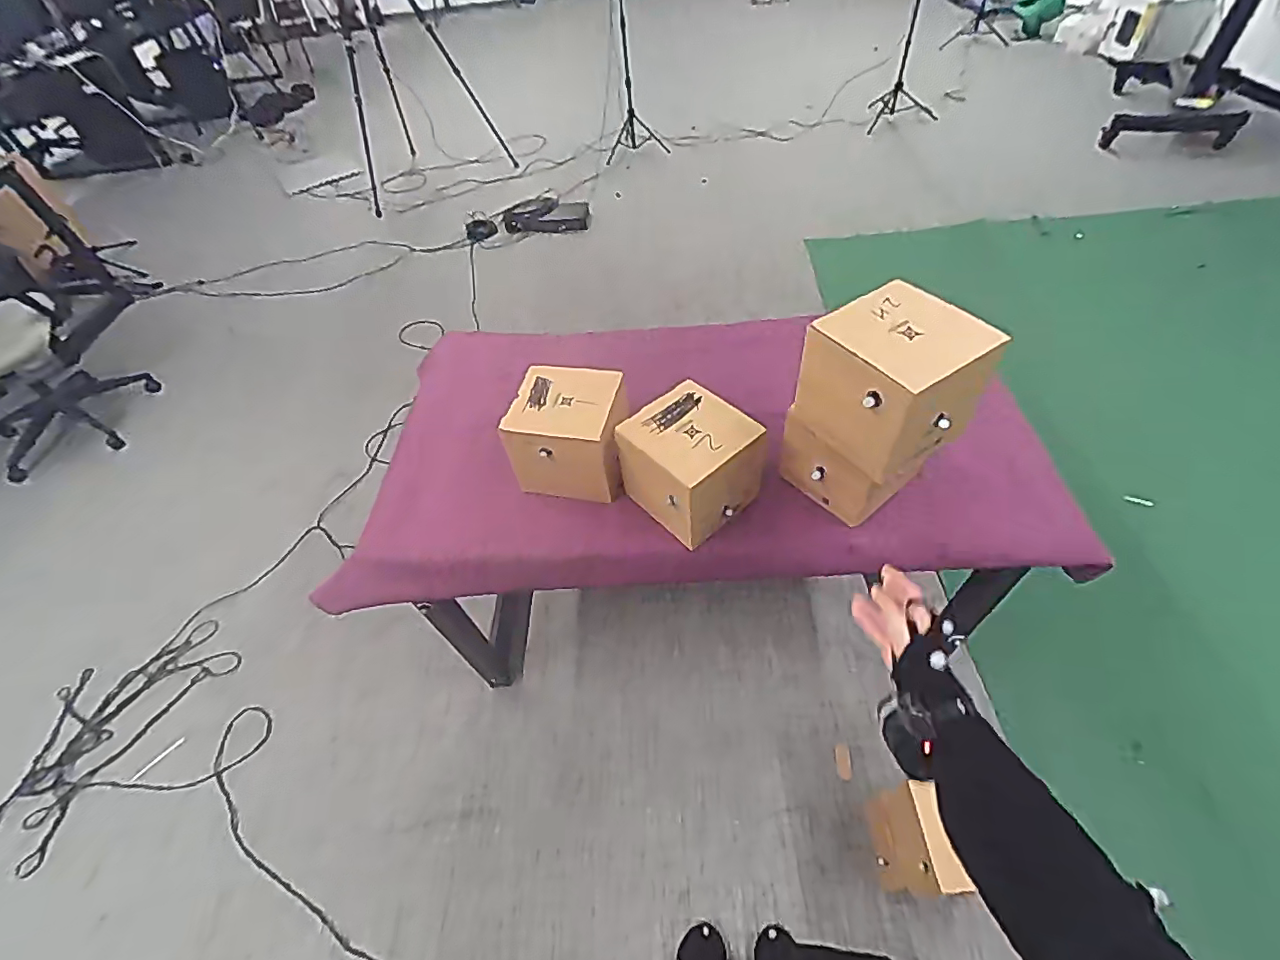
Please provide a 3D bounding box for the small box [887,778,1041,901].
[{"bbox_3d":[0.585,0.673,1.010,0.168,0.176,0.179,-5,52,3],"label":"small box"}]

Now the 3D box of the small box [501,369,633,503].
[{"bbox_3d":[-0.120,-0.077,0.970,0.179,0.176,0.168,7,52,11],"label":"small box"}]

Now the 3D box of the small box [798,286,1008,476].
[{"bbox_3d":[0.343,-0.129,0.742,0.168,0.176,0.179,-28,53,-16],"label":"small box"}]

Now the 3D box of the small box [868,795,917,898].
[{"bbox_3d":[0.594,0.772,1.137,0.179,0.176,0.168,-2,51,4],"label":"small box"}]

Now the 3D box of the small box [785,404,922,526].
[{"bbox_3d":[0.358,-0.056,0.896,0.179,0.176,0.168,-35,56,-19],"label":"small box"}]
